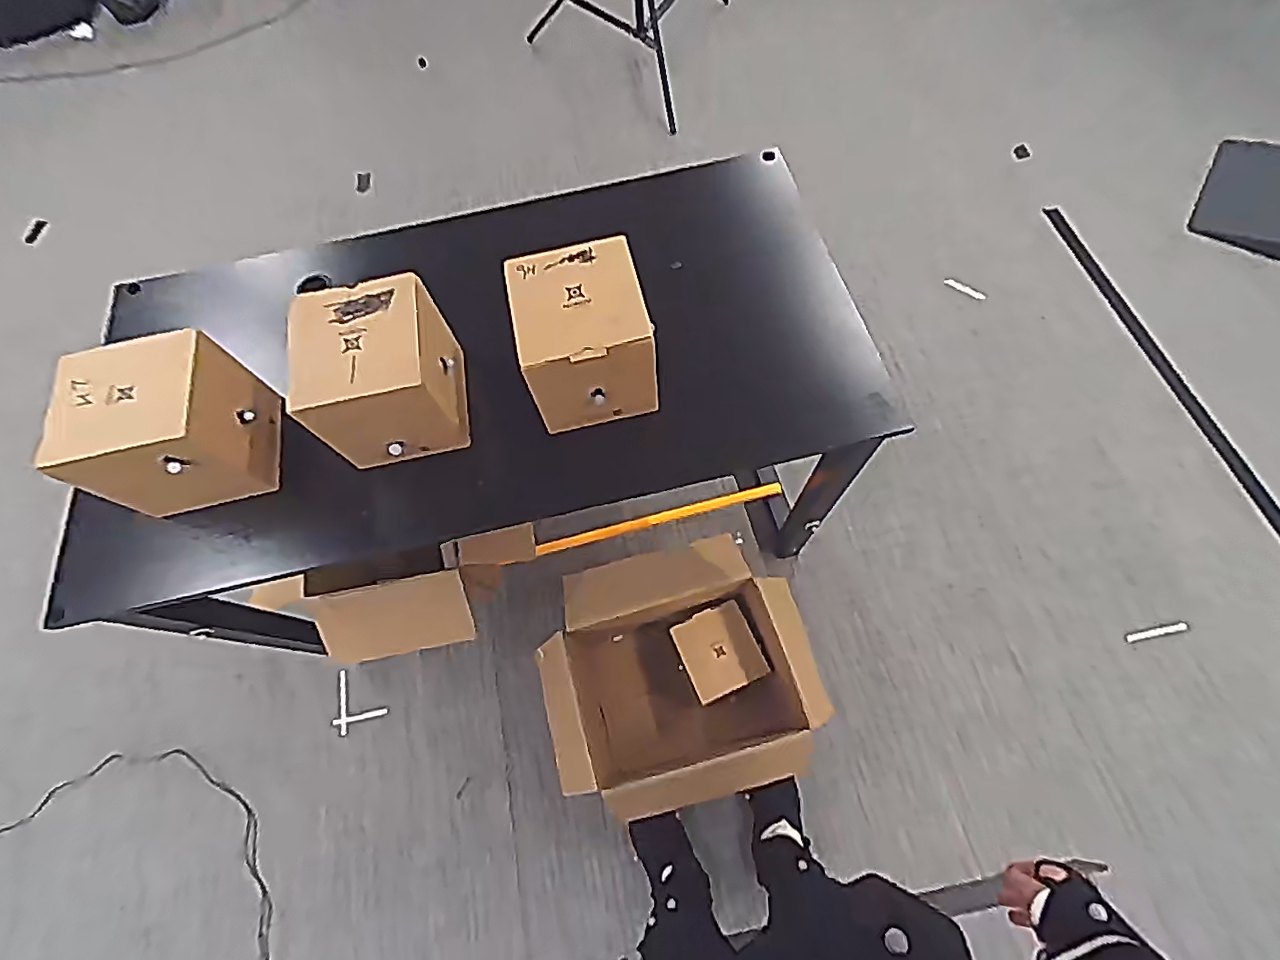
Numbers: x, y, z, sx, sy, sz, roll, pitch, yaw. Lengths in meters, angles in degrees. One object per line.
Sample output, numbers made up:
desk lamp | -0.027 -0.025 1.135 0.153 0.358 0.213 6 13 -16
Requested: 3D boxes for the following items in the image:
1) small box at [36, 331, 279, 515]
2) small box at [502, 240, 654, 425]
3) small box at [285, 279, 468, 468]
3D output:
small box | -0.626 -0.069 0.731 0.179 0.176 0.168 -13 66 -3
small box | -0.079 -0.191 0.751 0.168 0.176 0.179 -13 67 -1
small box | -0.350 -0.139 0.745 0.168 0.176 0.179 -12 67 -1
